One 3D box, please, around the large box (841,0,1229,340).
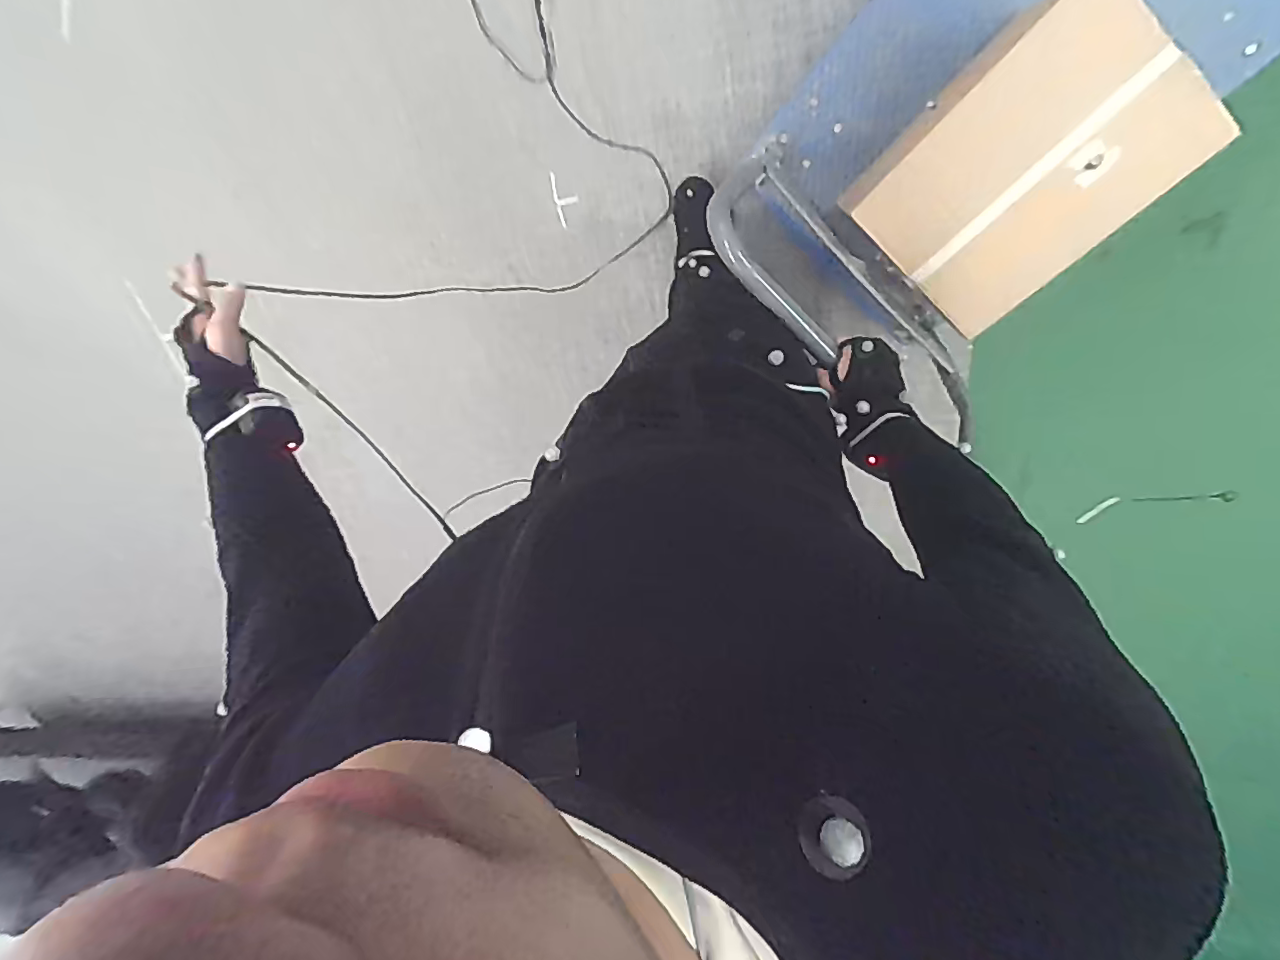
[{"bbox_3d":[0.625,-0.527,0.956,0.320,0.320,0.408,41,120,-11],"label":"large box"}]
